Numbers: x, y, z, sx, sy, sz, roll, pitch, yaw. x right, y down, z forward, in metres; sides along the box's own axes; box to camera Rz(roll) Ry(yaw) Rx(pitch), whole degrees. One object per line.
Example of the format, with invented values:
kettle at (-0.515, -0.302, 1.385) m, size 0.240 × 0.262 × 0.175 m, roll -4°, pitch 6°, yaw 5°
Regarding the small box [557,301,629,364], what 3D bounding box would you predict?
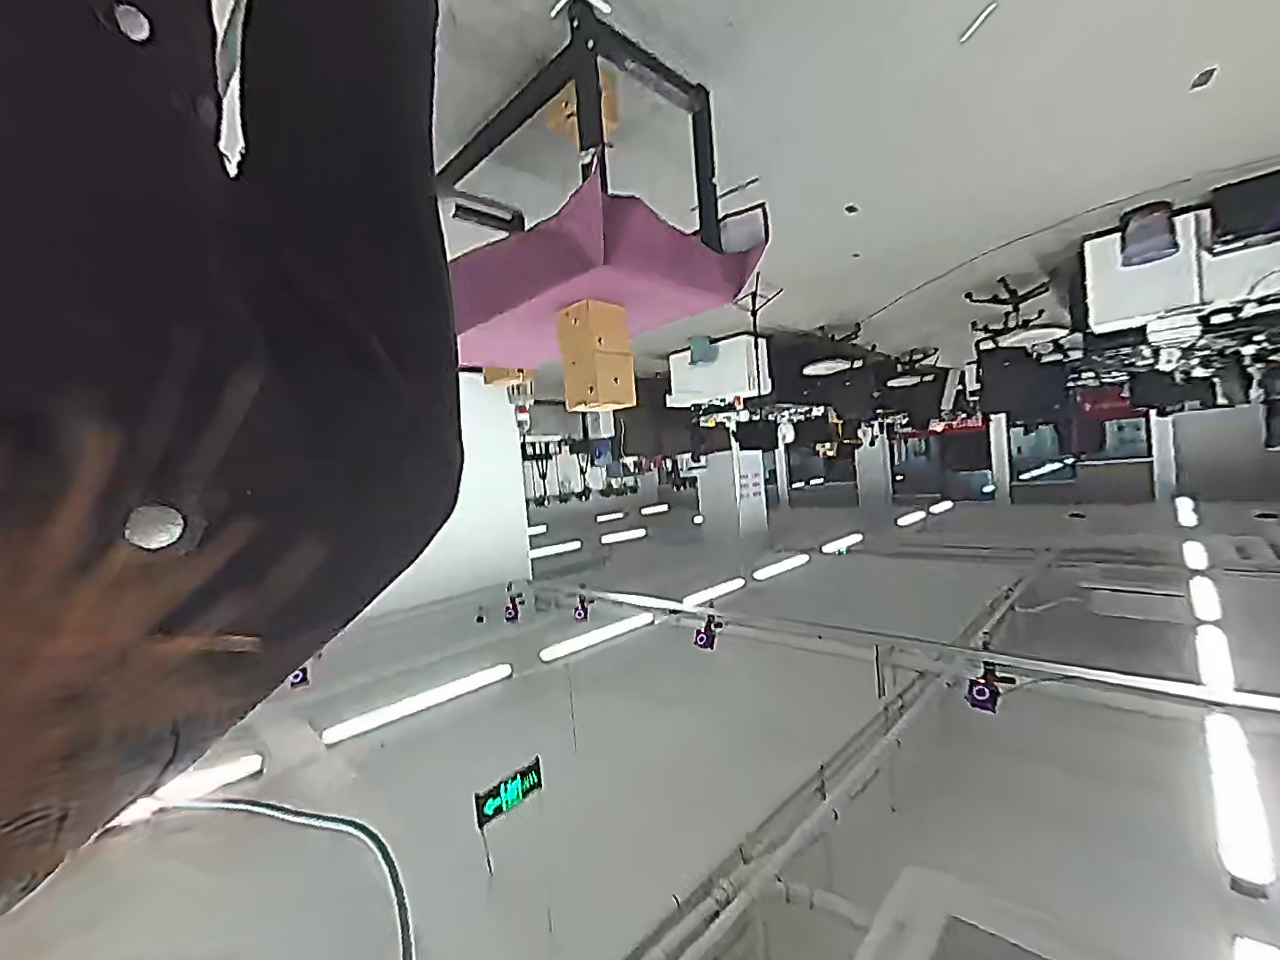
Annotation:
small box at (-0.159, -0.493, 1.814) m, size 0.168 × 0.176 × 0.179 m, roll -4°, pitch -178°, yaw 44°
